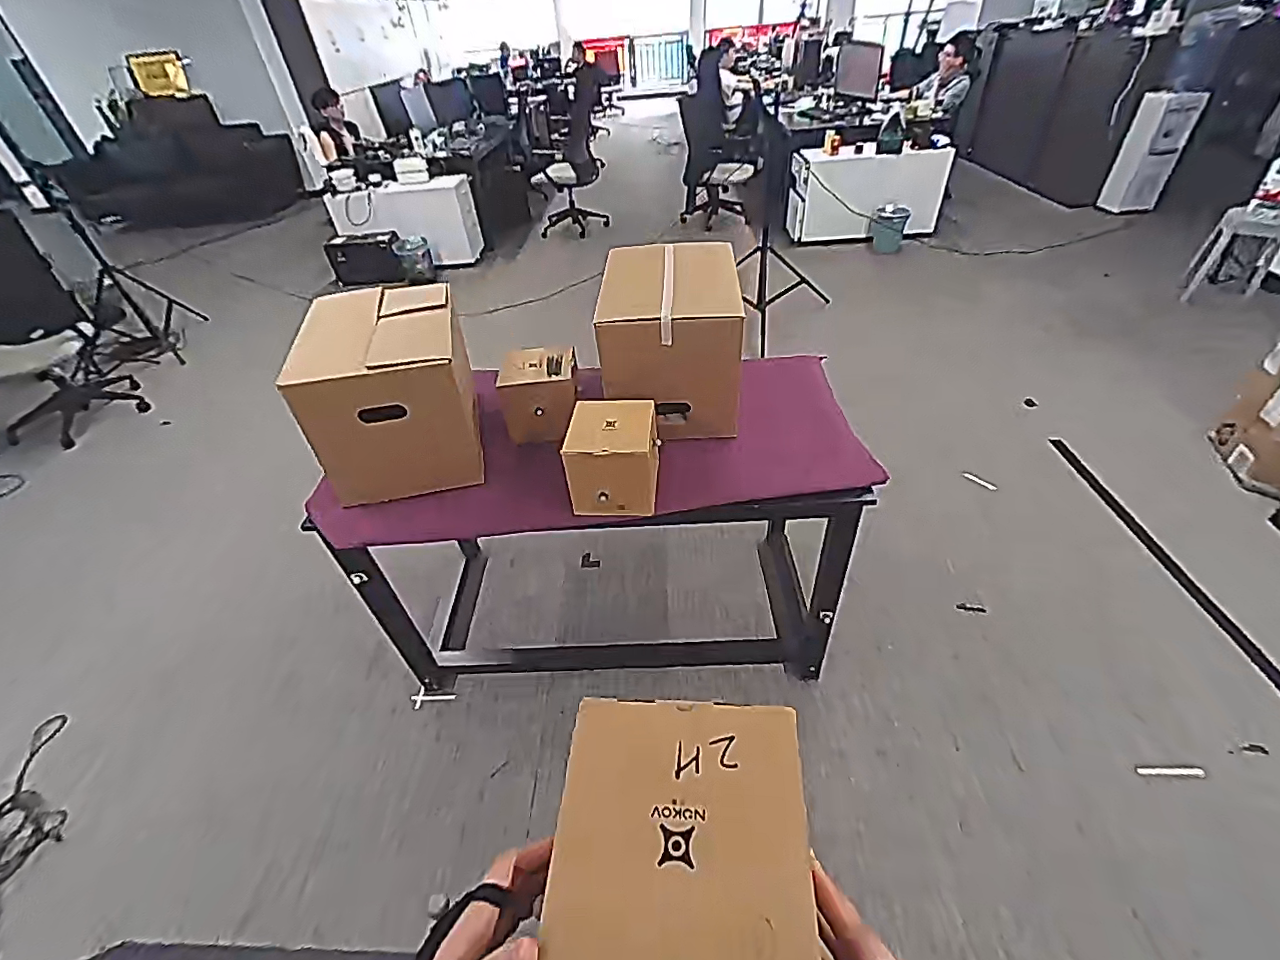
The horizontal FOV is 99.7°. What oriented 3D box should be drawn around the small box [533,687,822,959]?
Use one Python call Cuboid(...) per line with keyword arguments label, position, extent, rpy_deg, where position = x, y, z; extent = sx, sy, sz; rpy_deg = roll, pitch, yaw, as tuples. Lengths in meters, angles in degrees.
Cuboid(label="small box", position=(0.037, 0.278, 0.405), extent=(0.168, 0.176, 0.179), rpy_deg=(-2, 42, 9))
